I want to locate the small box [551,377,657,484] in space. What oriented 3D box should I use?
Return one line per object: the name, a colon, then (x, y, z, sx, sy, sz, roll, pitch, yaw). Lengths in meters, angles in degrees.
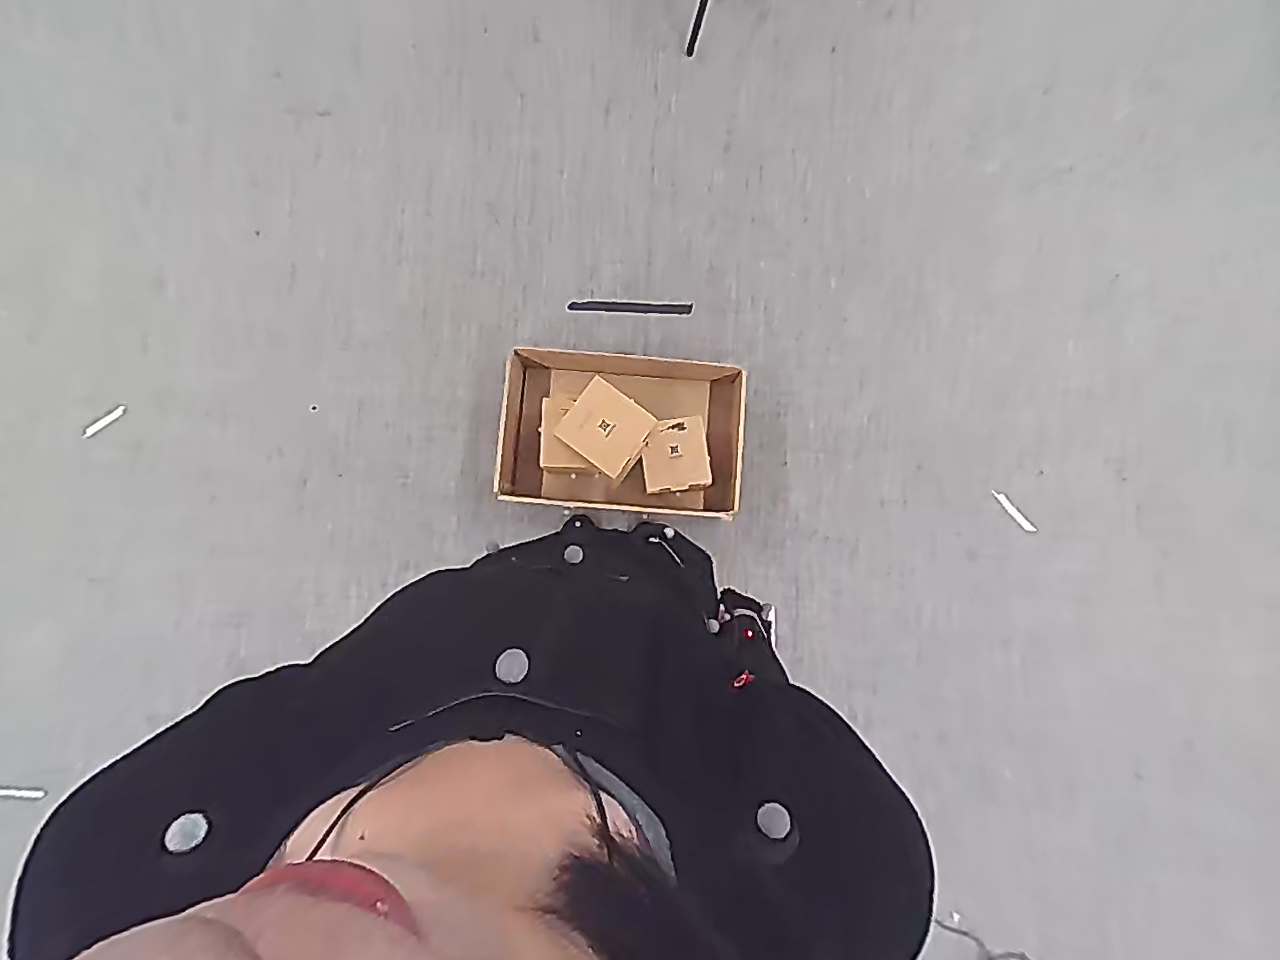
small box: (-0.079, -0.105, 1.253, 0.179, 0.176, 0.168, 36, 83, 3)
